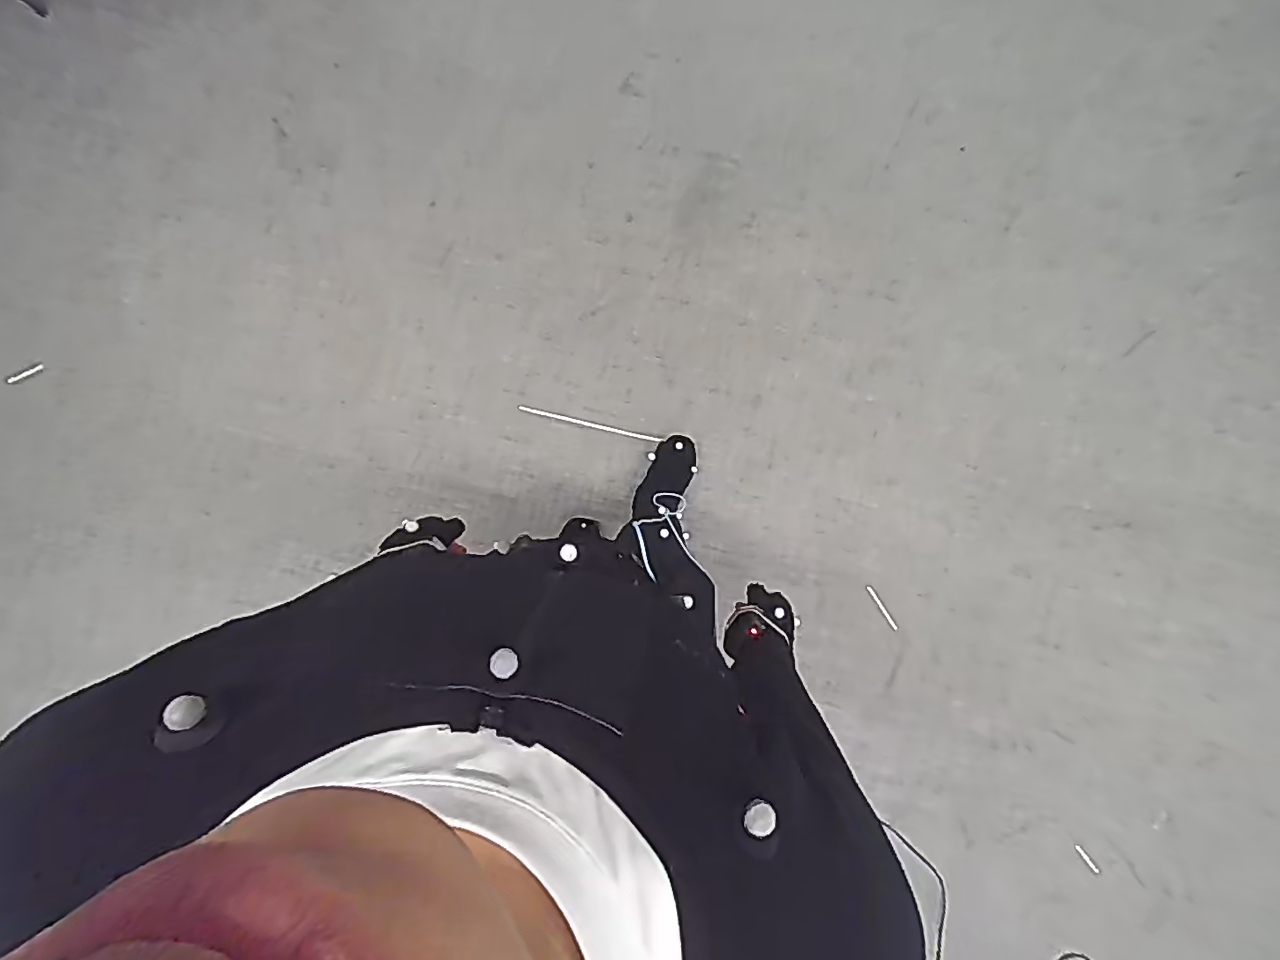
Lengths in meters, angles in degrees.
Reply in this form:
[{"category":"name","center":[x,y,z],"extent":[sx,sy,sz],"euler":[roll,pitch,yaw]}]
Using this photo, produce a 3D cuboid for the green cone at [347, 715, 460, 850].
[{"category":"green cone","center":[-0.590,0.738,1.276],"extent":[0.202,0.368,0.200],"euler":[12,89,-2]}]
